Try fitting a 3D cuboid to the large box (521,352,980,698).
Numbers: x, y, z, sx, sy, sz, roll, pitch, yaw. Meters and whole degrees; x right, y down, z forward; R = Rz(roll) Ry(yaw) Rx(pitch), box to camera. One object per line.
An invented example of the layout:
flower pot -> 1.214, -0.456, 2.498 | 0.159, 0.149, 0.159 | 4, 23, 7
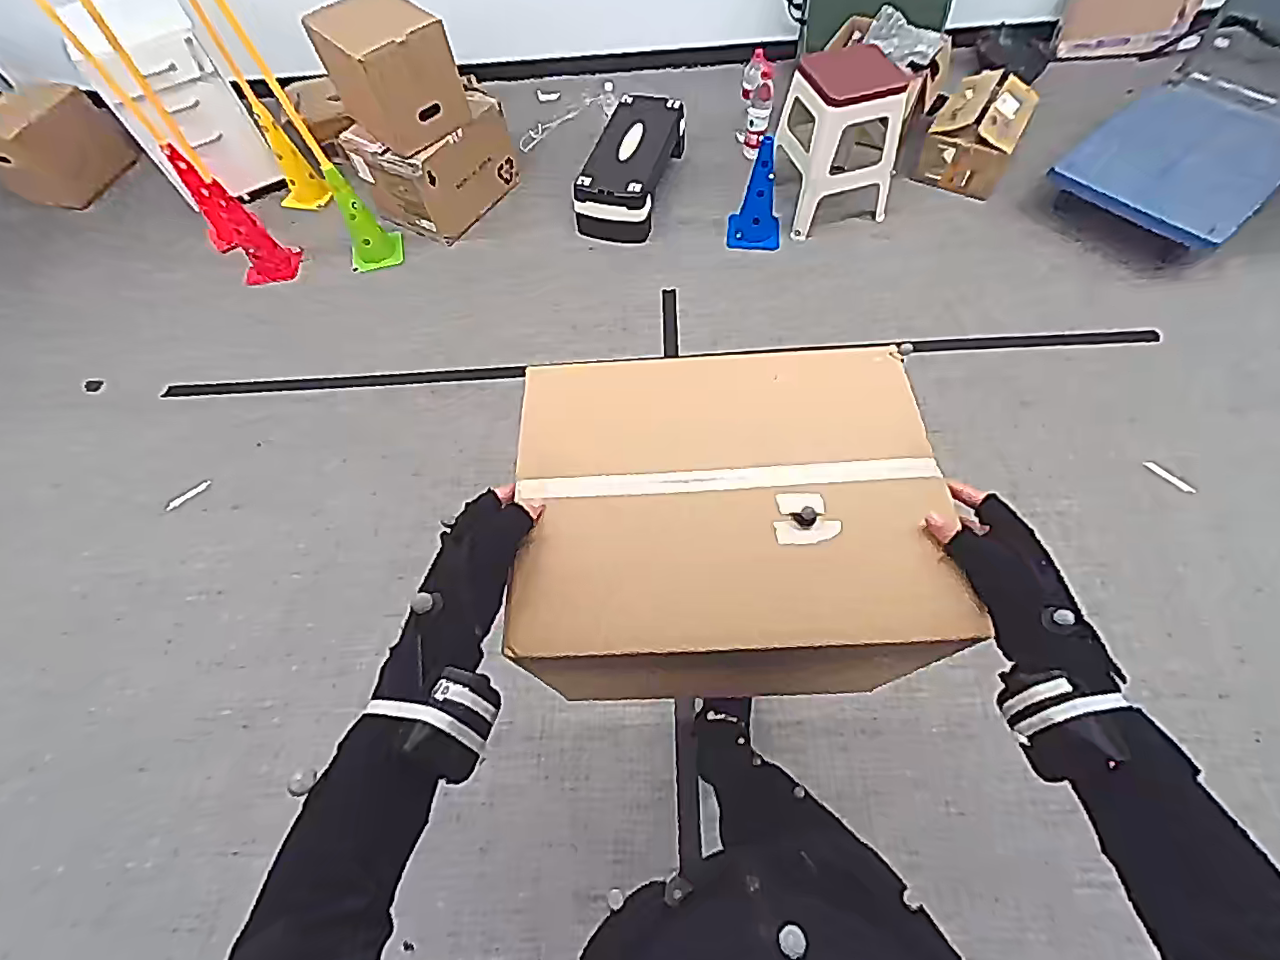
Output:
large box -> 0.091, 0.074, 0.662 | 0.408, 0.320, 0.320 | -3, 62, 1
